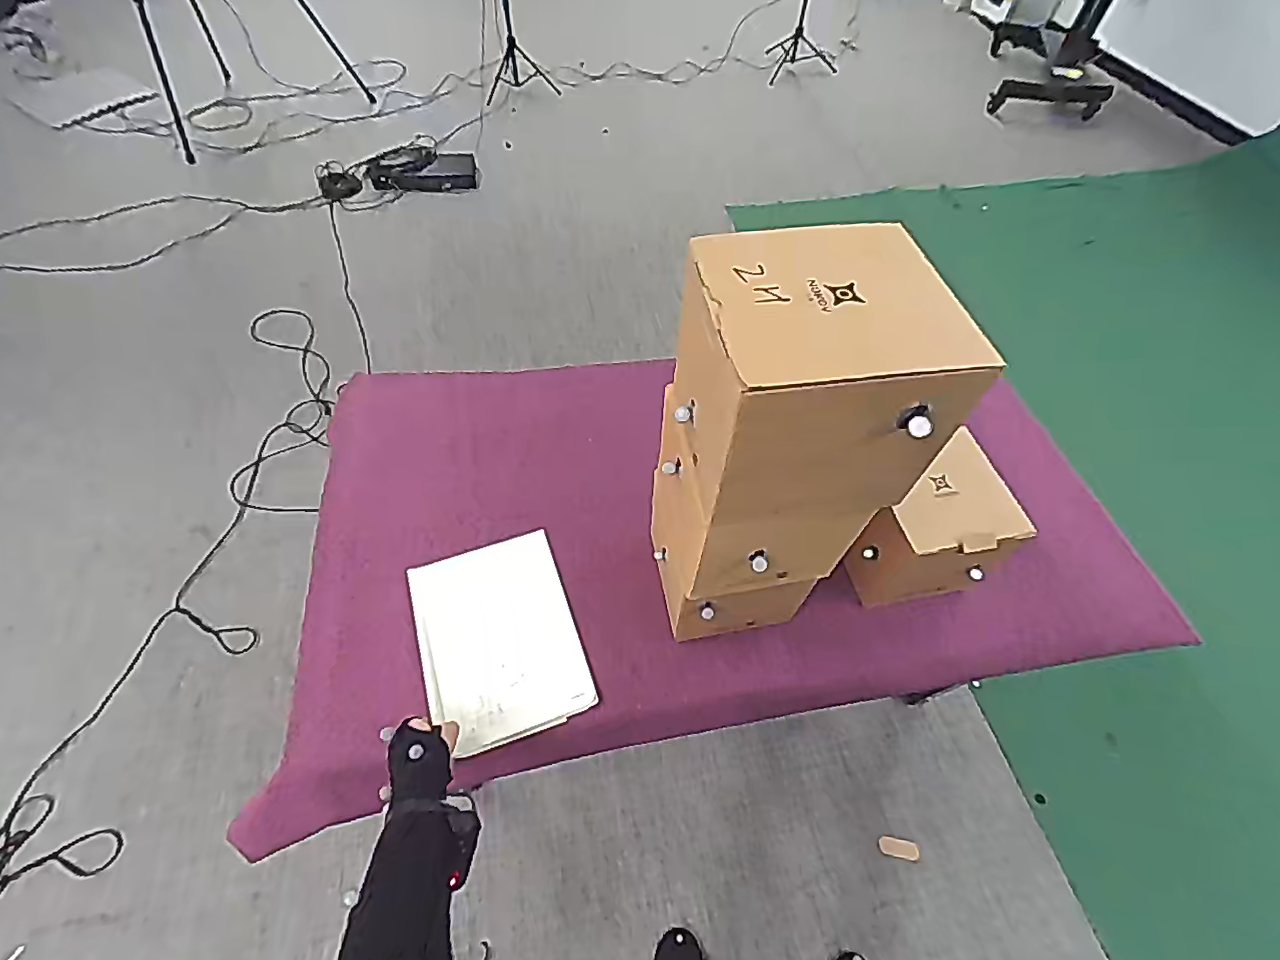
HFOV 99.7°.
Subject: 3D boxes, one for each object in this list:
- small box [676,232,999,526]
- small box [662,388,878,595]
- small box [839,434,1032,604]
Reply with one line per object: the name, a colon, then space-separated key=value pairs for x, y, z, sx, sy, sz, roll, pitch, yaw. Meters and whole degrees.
small box: x=0.133 y=-0.078 z=0.446 sx=0.179 sy=0.176 sz=0.168 roll=-6 pitch=55 yaw=-5
small box: x=0.120 y=0.012 z=0.584 sx=0.168 sy=0.176 sz=0.179 roll=-8 pitch=55 yaw=-7
small box: x=0.381 y=0.061 z=0.756 sx=0.168 sy=0.176 sz=0.179 roll=-7 pitch=55 yaw=-7
